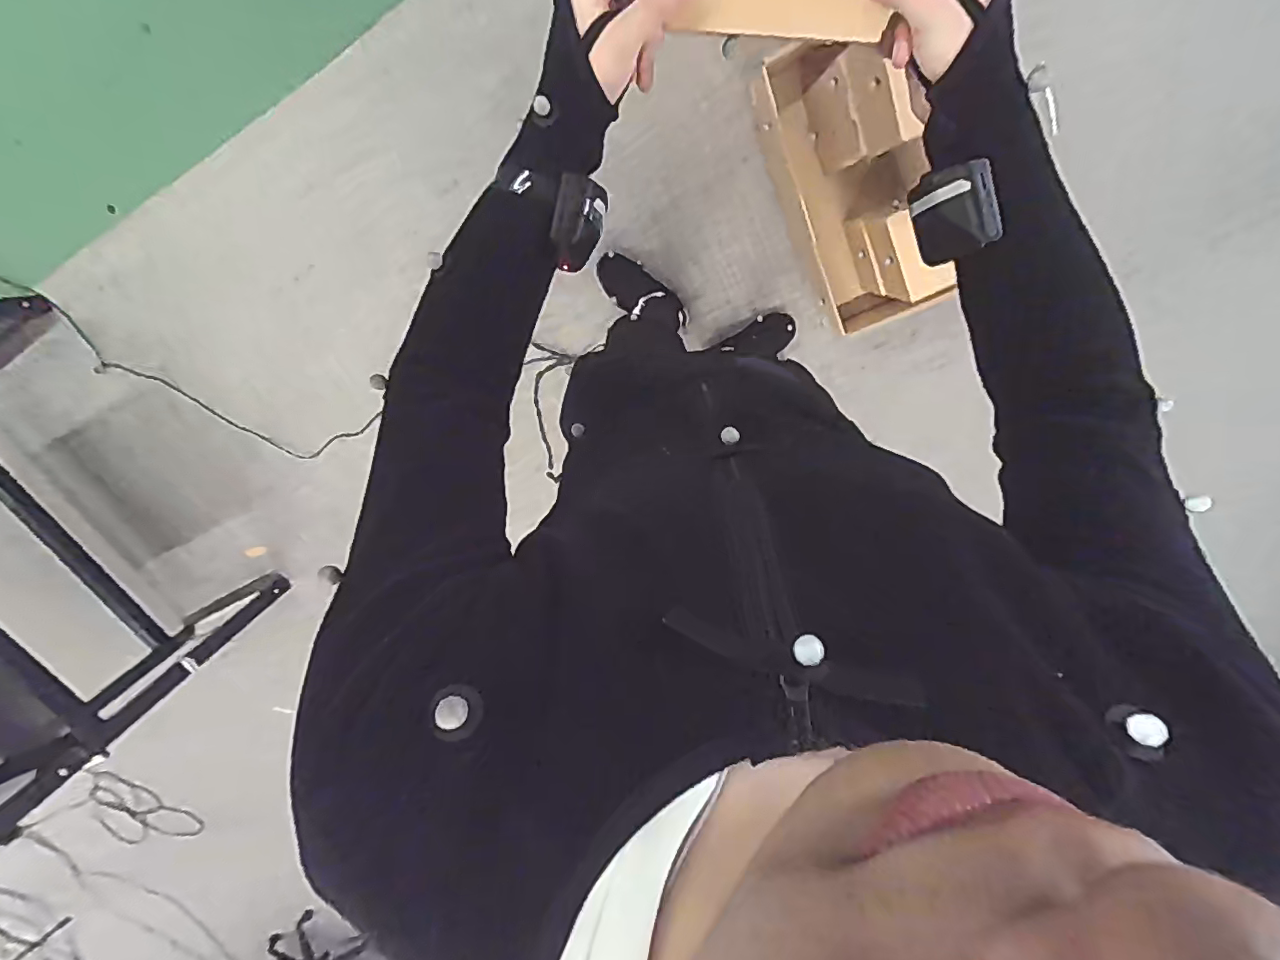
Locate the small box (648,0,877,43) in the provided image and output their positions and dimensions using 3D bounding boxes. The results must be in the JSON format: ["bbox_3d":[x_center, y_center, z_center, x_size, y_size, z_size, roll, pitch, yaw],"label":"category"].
[{"bbox_3d":[0.096,-0.446,0.408,0.168,0.176,0.179,4,128,1],"label":"small box"}]

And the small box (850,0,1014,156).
[{"bbox_3d":[0.457,-0.655,0.868,0.168,0.176,0.179,-20,111,13],"label":"small box"}]

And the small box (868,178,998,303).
[{"bbox_3d":[0.591,-0.485,1.111,0.168,0.176,0.179,-22,109,16],"label":"small box"}]
